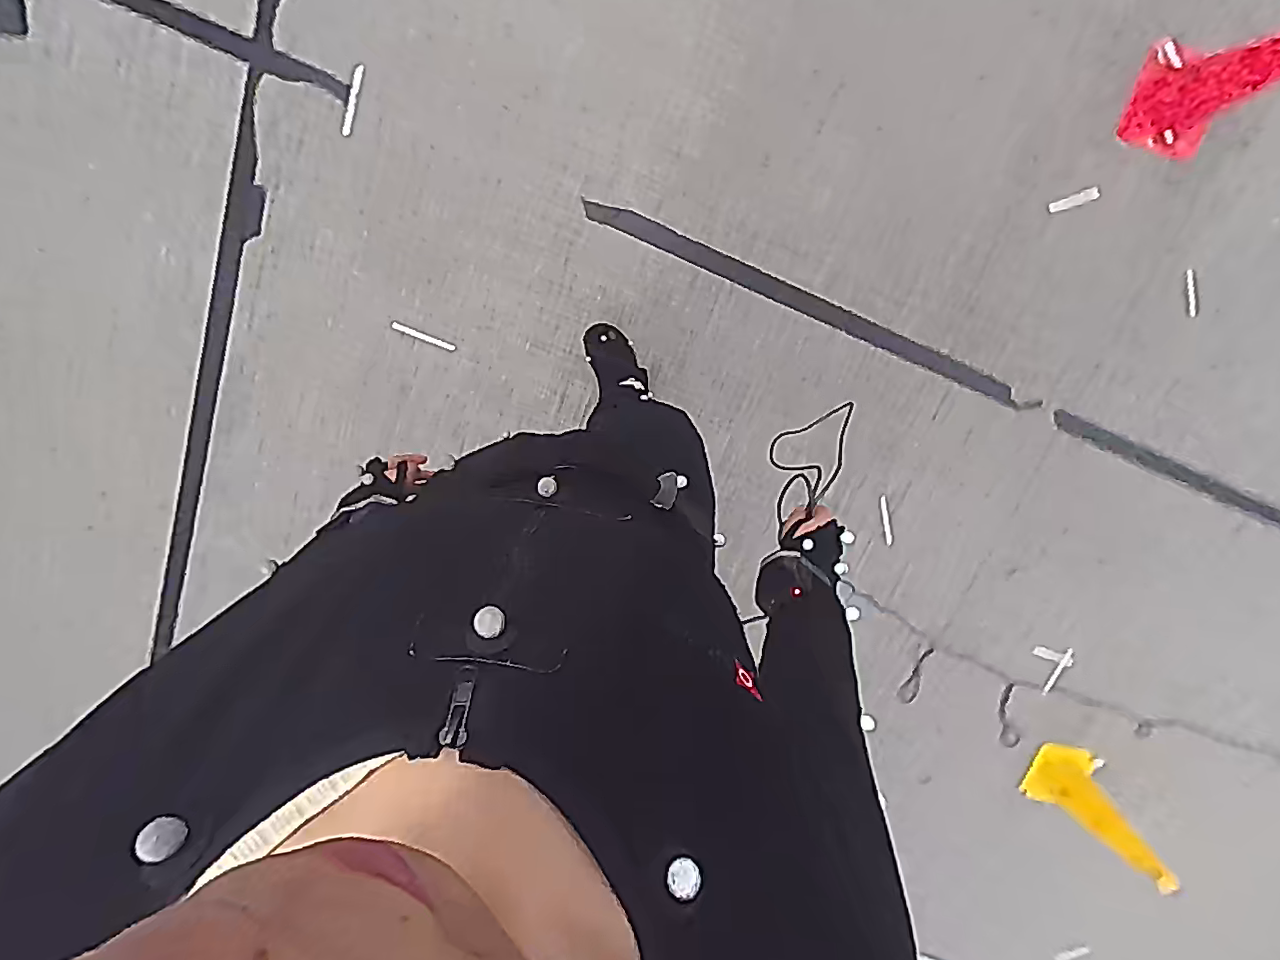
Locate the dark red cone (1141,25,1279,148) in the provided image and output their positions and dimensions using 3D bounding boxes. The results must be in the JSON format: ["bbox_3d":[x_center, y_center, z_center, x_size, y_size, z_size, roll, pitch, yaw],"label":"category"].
[{"bbox_3d":[1.206,-0.793,1.005,0.202,0.394,0.201,13,106,-6],"label":"dark red cone"}]
